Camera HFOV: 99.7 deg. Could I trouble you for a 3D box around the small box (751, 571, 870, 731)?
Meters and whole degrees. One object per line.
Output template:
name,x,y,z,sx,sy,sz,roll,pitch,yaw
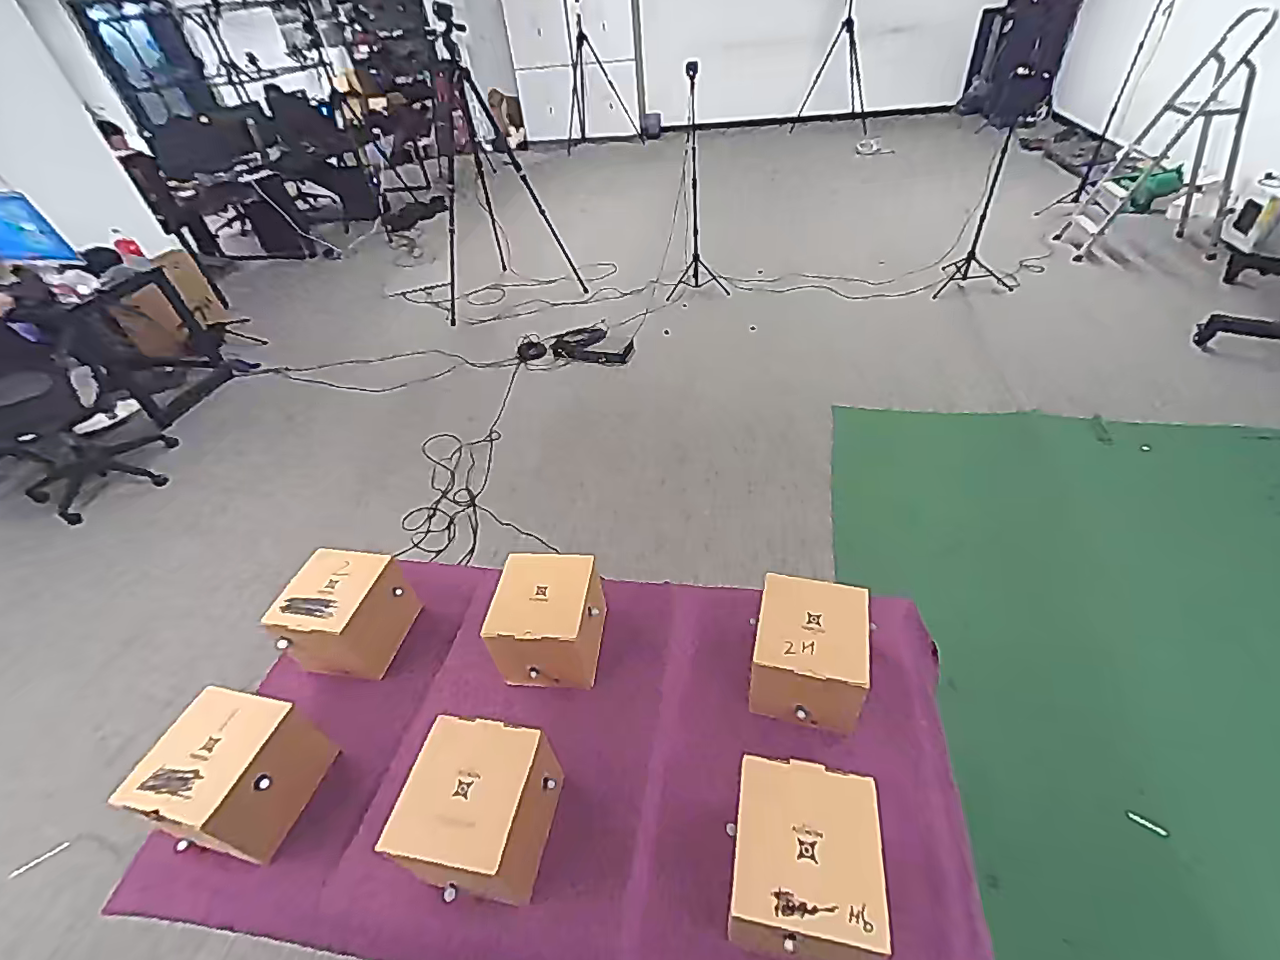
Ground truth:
small box,0.279,0.282,0.898,0.168,0.176,0.179,7,45,16

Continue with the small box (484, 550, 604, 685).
small box,-0.163,0.250,0.992,0.168,0.176,0.179,1,44,8

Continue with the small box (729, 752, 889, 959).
small box,0.204,0.483,0.686,0.168,0.176,0.179,4,42,13

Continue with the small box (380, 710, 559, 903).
small box,-0.224,0.461,0.768,0.168,0.176,0.179,4,43,12

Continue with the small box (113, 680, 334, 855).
small box,-0.618,0.443,0.833,0.168,0.176,0.179,6,42,13
